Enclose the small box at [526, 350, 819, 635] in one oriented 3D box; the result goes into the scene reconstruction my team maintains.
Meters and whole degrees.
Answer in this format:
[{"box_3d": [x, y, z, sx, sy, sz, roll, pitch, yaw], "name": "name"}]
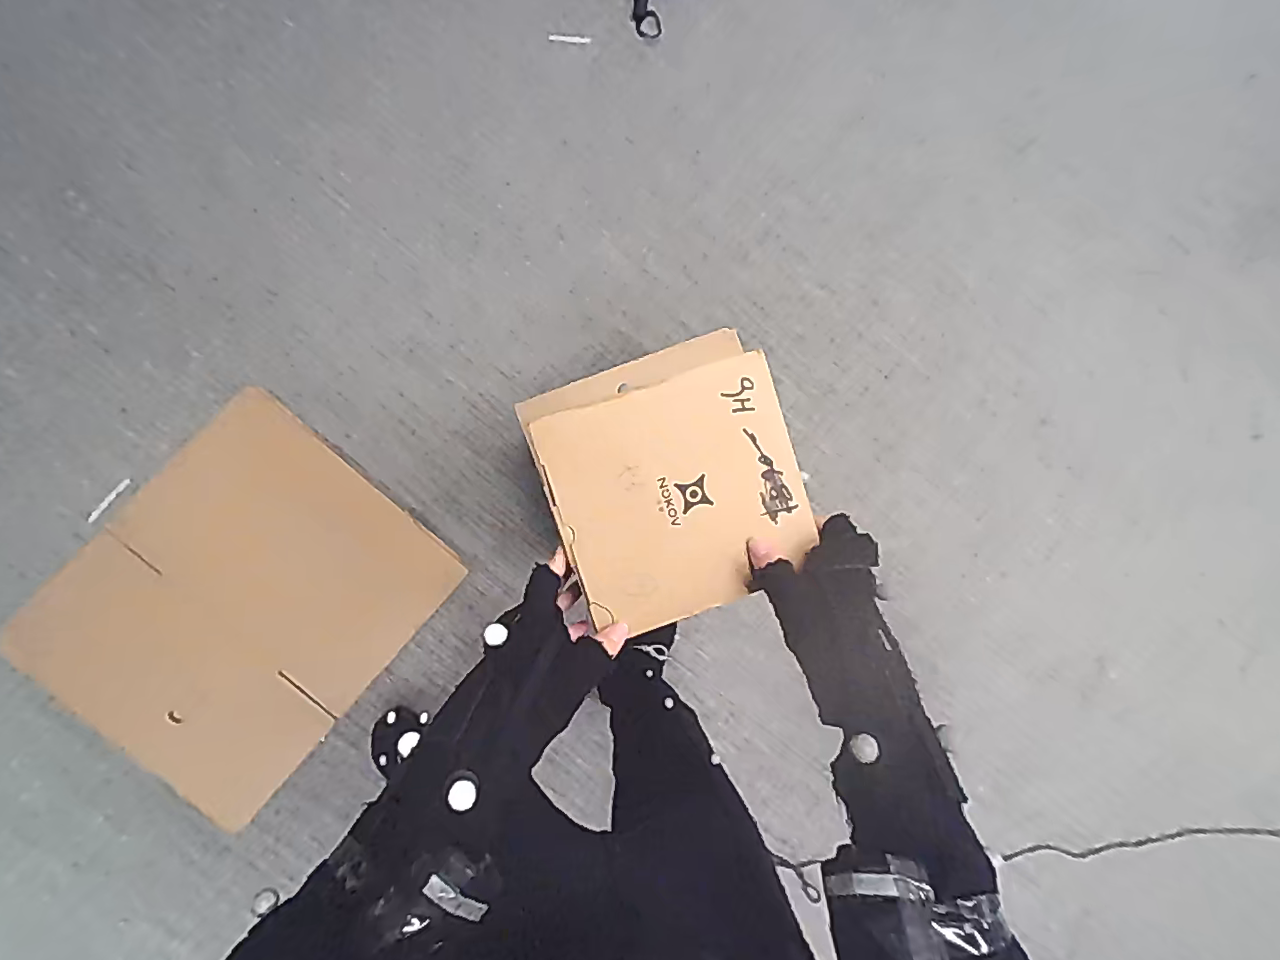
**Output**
[{"box_3d": [0.019, 0.009, 0.473, 0.179, 0.176, 0.168, -22, 92, -6], "name": "small box"}]
